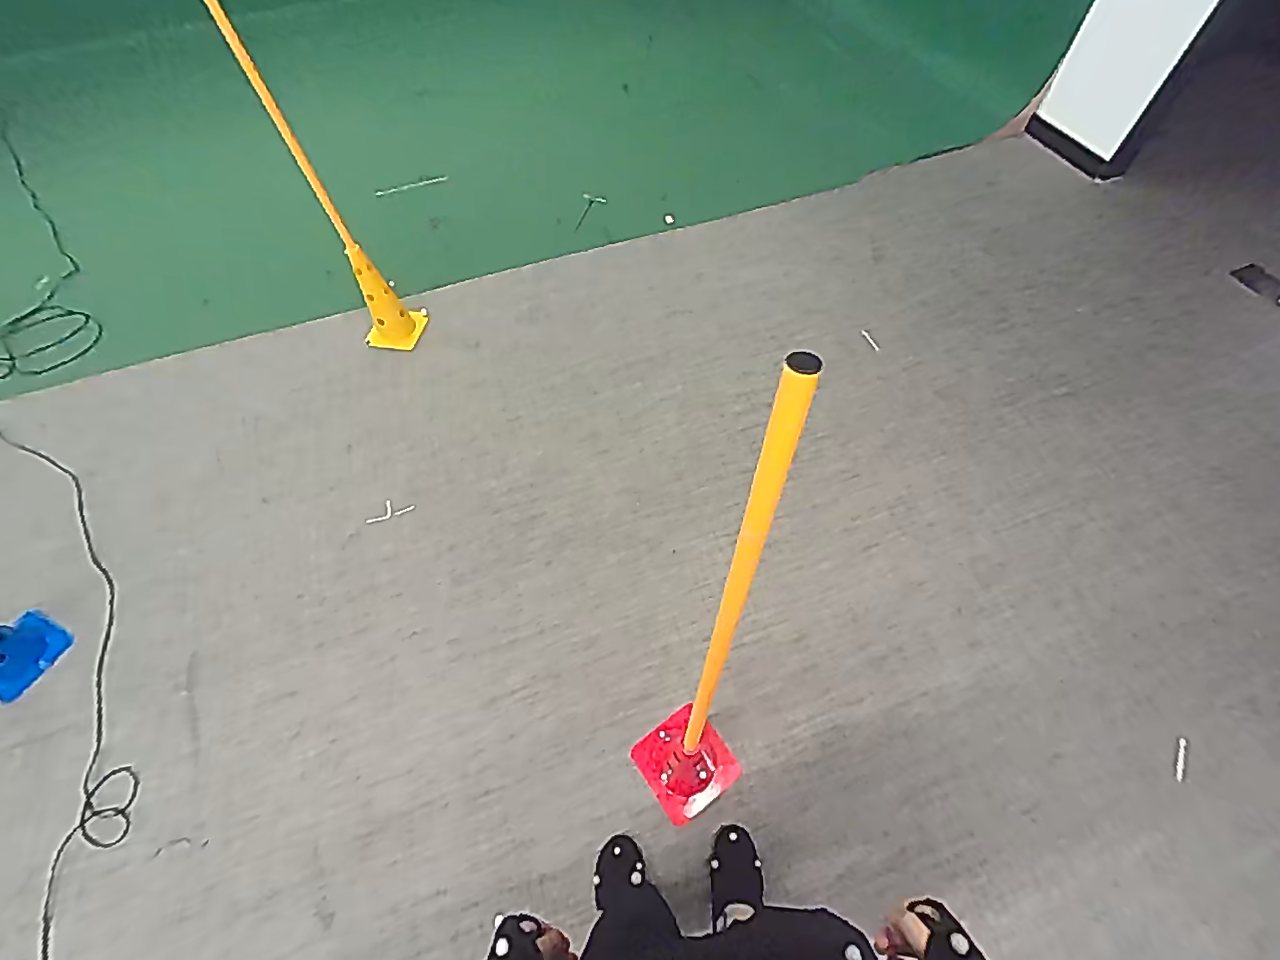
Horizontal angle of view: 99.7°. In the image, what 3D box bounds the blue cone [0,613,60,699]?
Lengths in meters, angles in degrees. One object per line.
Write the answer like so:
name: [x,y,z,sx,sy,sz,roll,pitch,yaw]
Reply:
blue cone: [-1.698,0.394,1.315,0.192,0.380,0.193,22,65,14]
